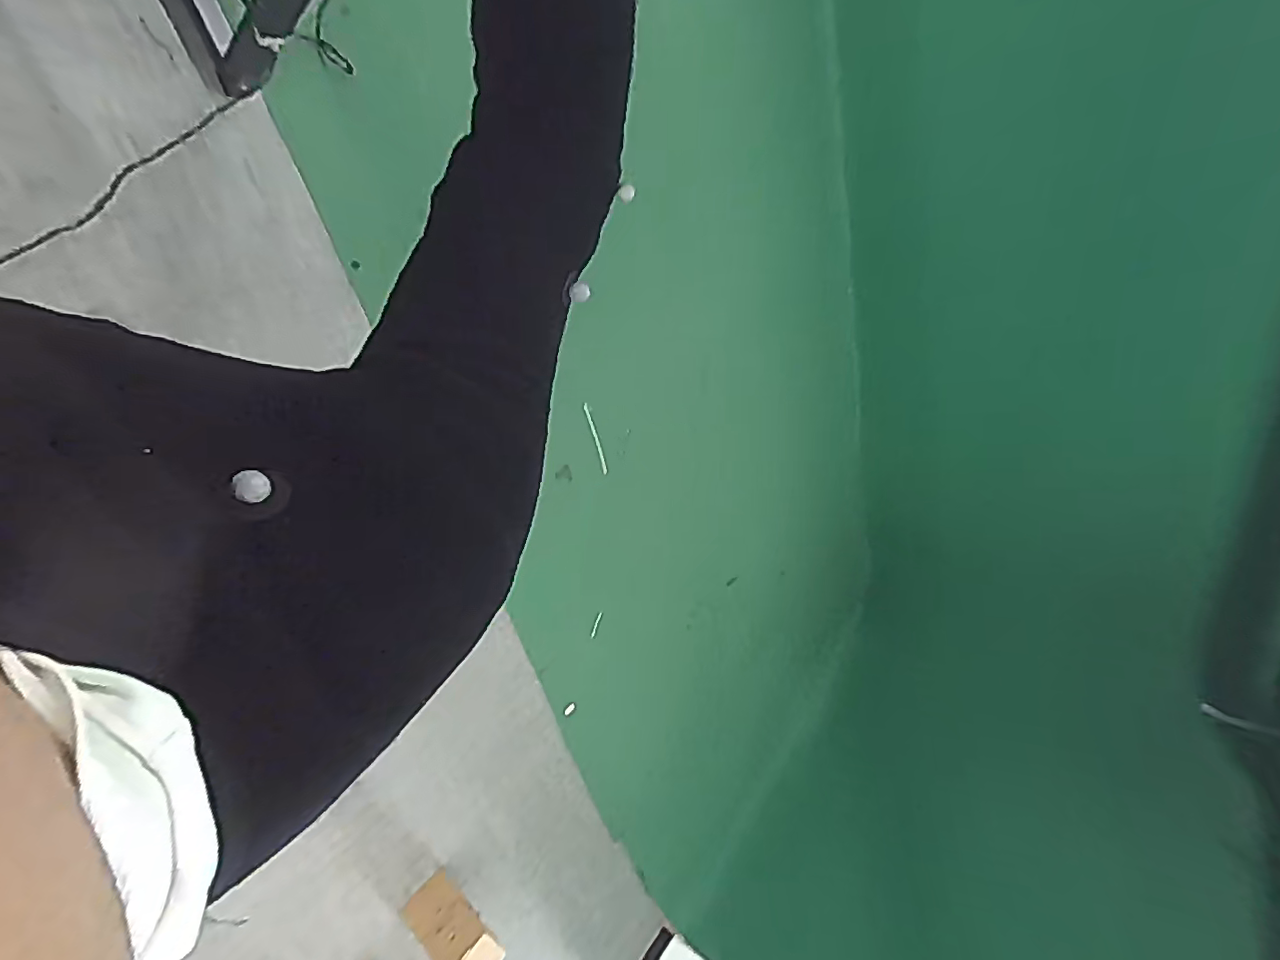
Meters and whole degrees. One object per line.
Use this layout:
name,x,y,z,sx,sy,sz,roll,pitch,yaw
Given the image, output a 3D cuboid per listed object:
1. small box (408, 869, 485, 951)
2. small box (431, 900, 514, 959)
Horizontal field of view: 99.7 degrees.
small box,-0.683,1.538,1.914,0.179,0.176,0.168,-38,123,-35
small box,-0.562,1.558,1.806,0.168,0.176,0.179,-41,124,-33
